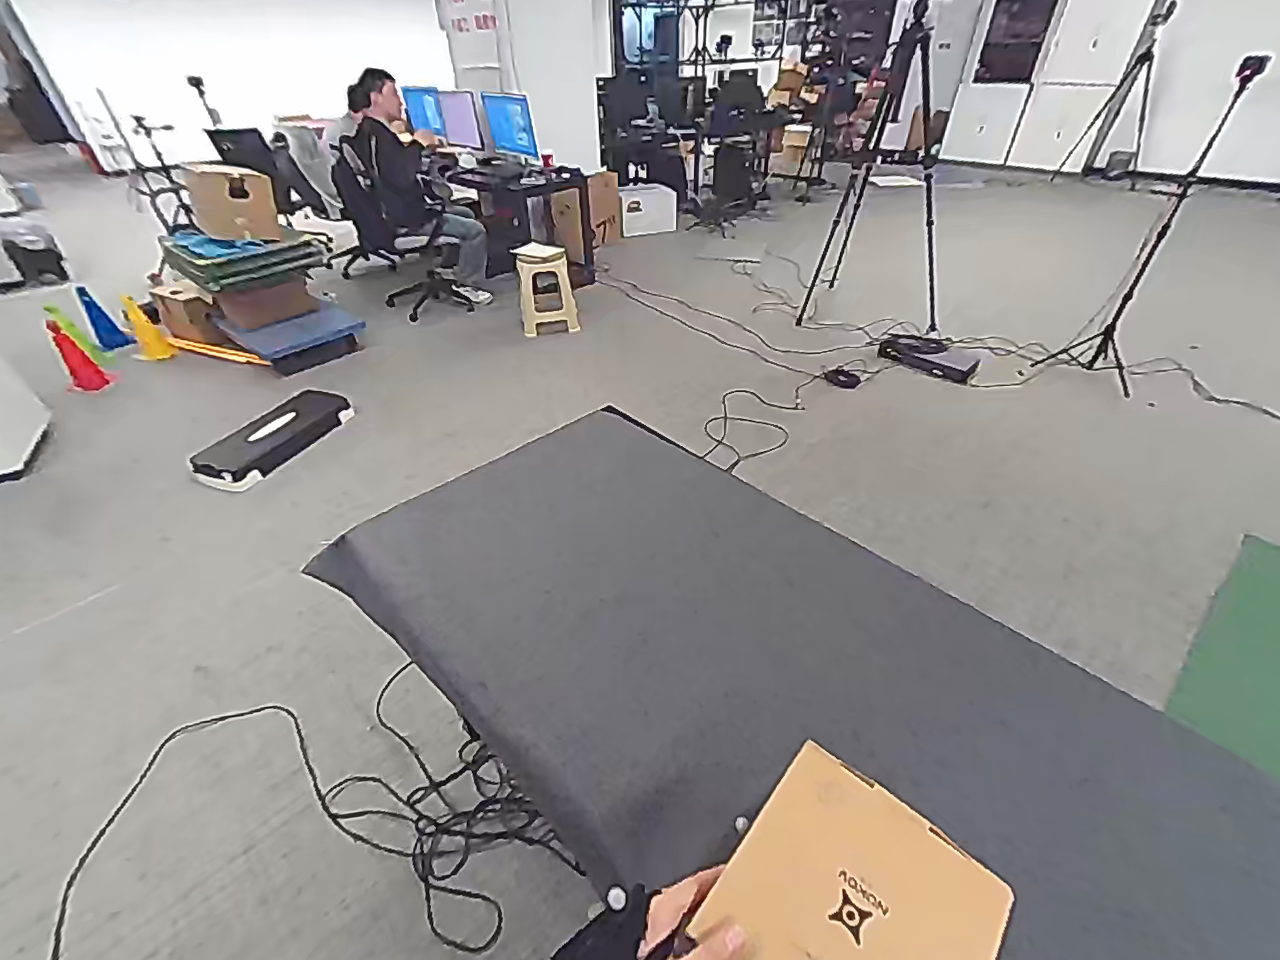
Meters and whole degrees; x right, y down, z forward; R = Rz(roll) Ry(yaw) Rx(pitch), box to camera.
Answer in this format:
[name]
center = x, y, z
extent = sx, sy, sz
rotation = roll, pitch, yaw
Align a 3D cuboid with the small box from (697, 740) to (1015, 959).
[small box]
center = 0.156, 0.360, 0.434
extent = 0.168, 0.176, 0.179
rotation = 28, 52, 31
